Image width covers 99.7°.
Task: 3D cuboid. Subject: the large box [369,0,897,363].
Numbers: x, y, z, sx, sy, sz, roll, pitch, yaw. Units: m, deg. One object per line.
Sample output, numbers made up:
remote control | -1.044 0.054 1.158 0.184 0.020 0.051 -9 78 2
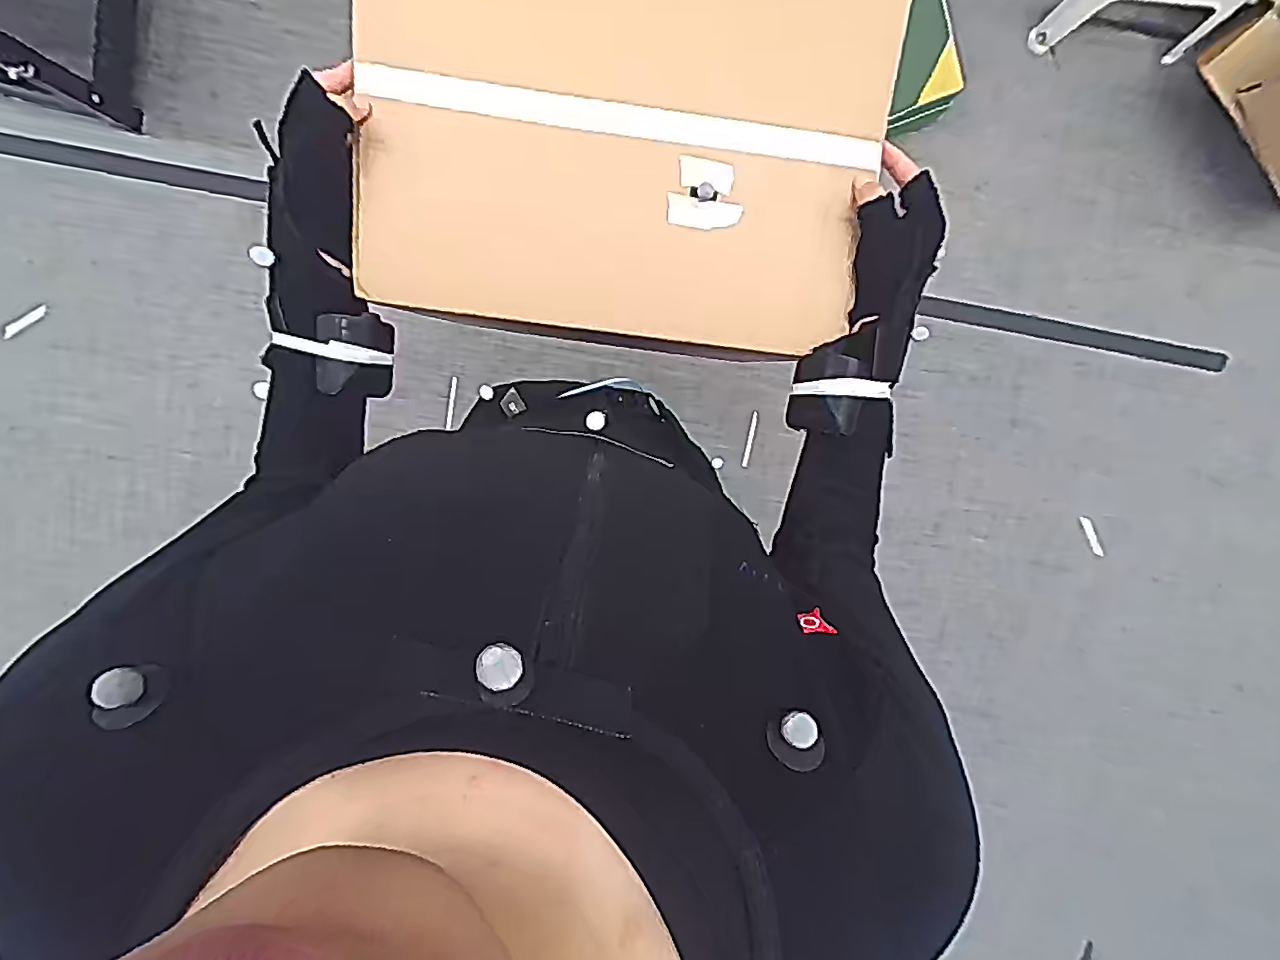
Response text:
large box | -0.020 -0.302 0.573 0.408 0.320 0.320 6 103 -5
